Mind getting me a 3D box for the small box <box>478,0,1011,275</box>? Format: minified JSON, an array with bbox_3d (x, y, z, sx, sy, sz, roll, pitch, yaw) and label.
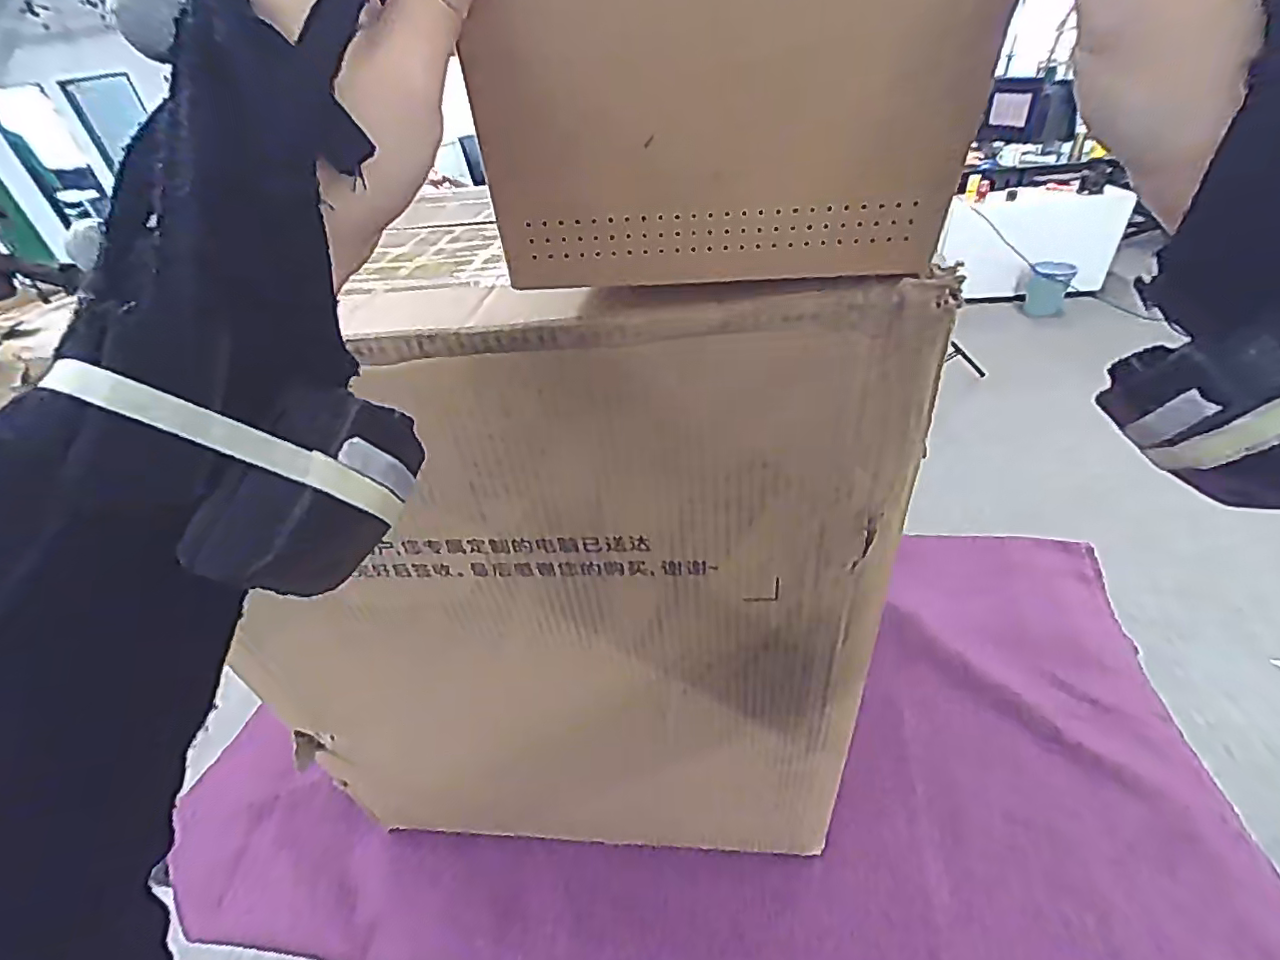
[{"bbox_3d":[0.033,-0.197,0.221,0.179,0.176,0.168,-1,46,2],"label":"small box"}]
